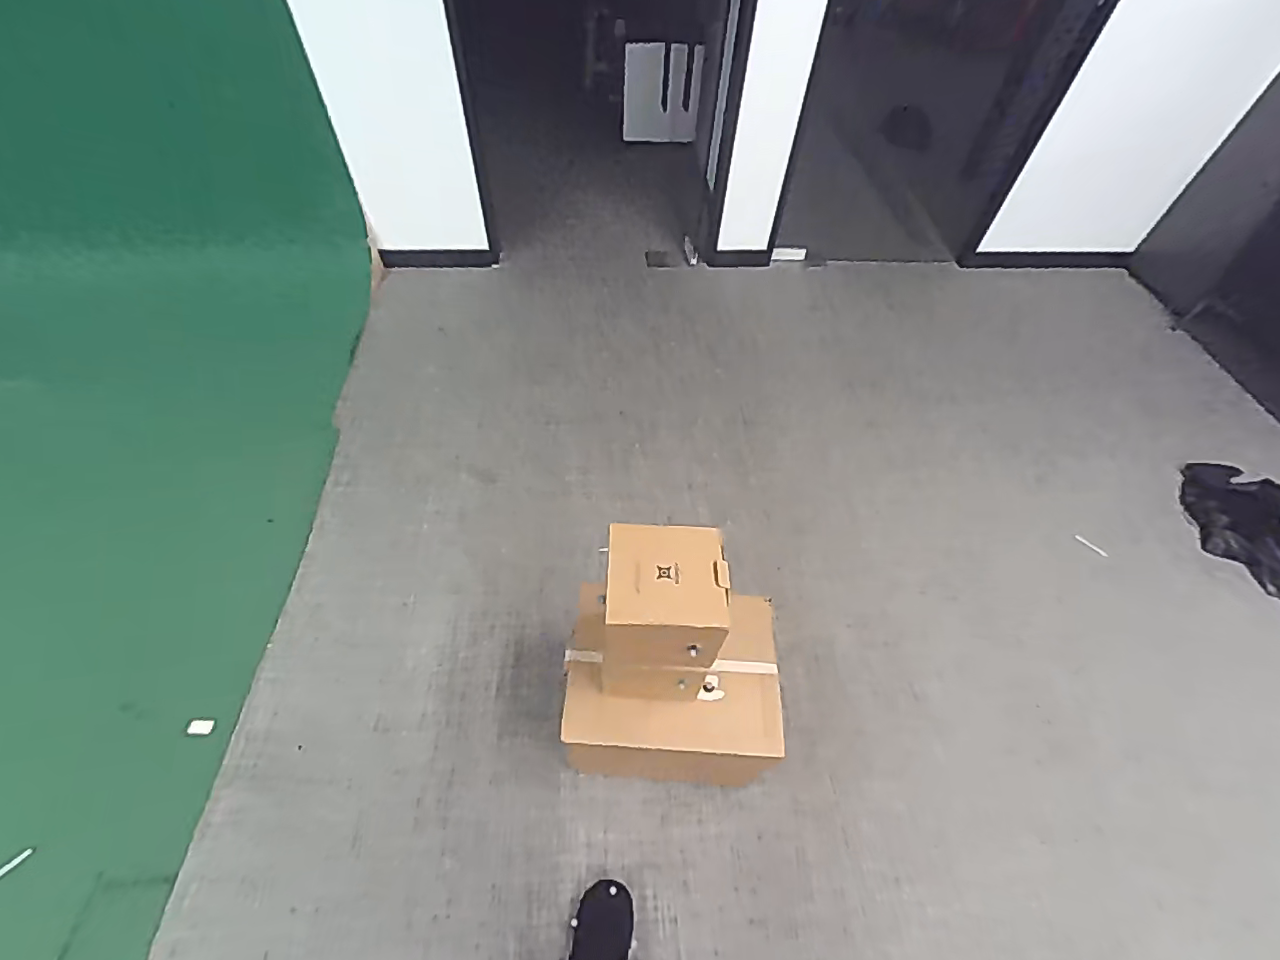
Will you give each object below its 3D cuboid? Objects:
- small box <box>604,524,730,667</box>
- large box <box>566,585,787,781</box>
[{"bbox_3d":[0.034,0.185,0.849,0.179,0.176,0.168,1,51,-2],"label":"small box"},{"bbox_3d":[0.060,0.444,1.165,0.408,0.320,0.320,4,53,-1],"label":"large box"}]
